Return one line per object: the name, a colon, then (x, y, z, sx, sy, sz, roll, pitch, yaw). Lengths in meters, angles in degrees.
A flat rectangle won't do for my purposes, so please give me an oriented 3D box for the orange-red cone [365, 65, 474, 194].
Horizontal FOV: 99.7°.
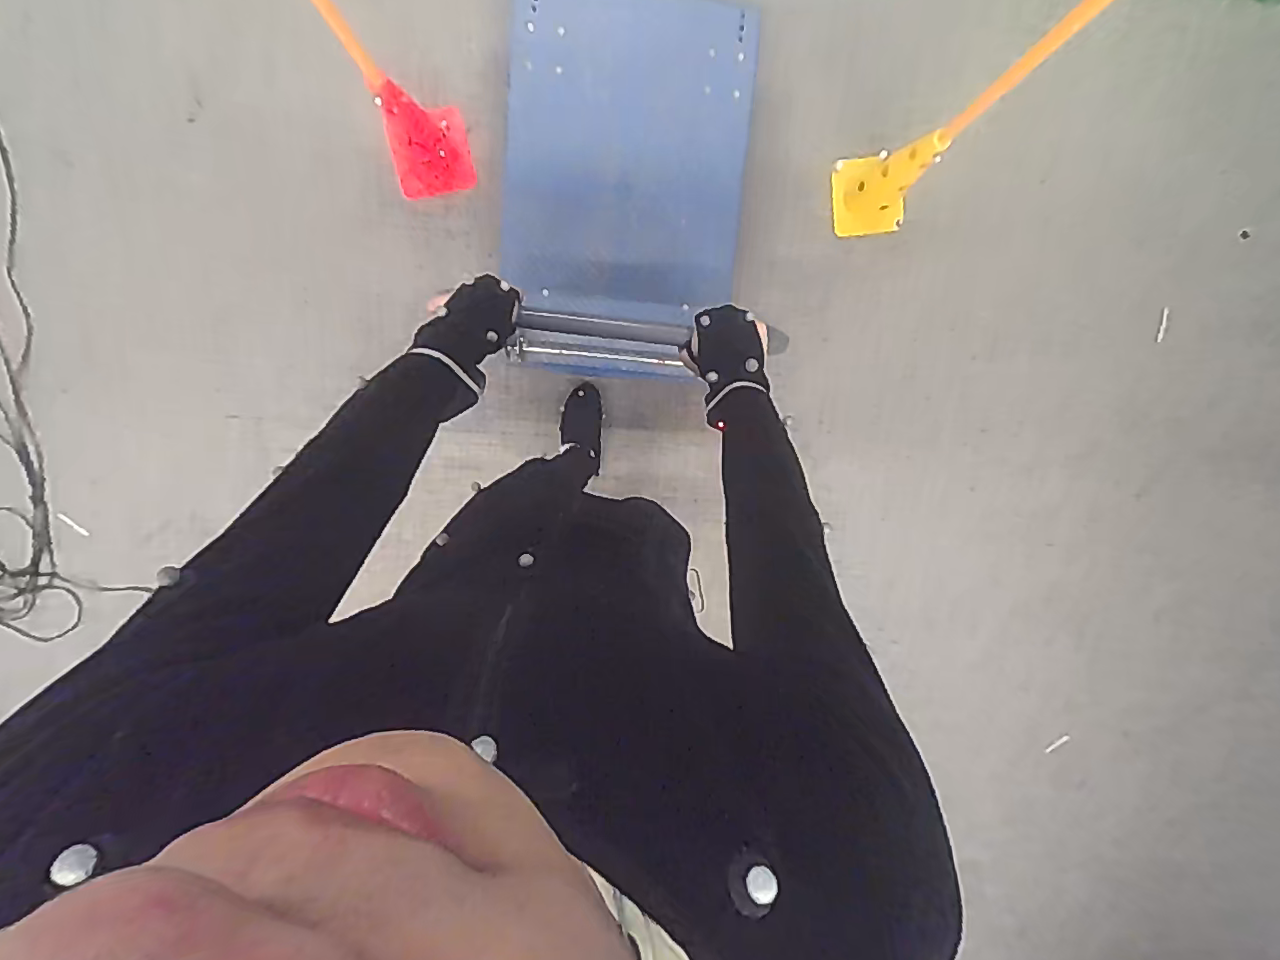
orange-red cone: (-0.536, -0.829, 1.238, 0.199, 0.360, 0.198, -11, 100, 0)
